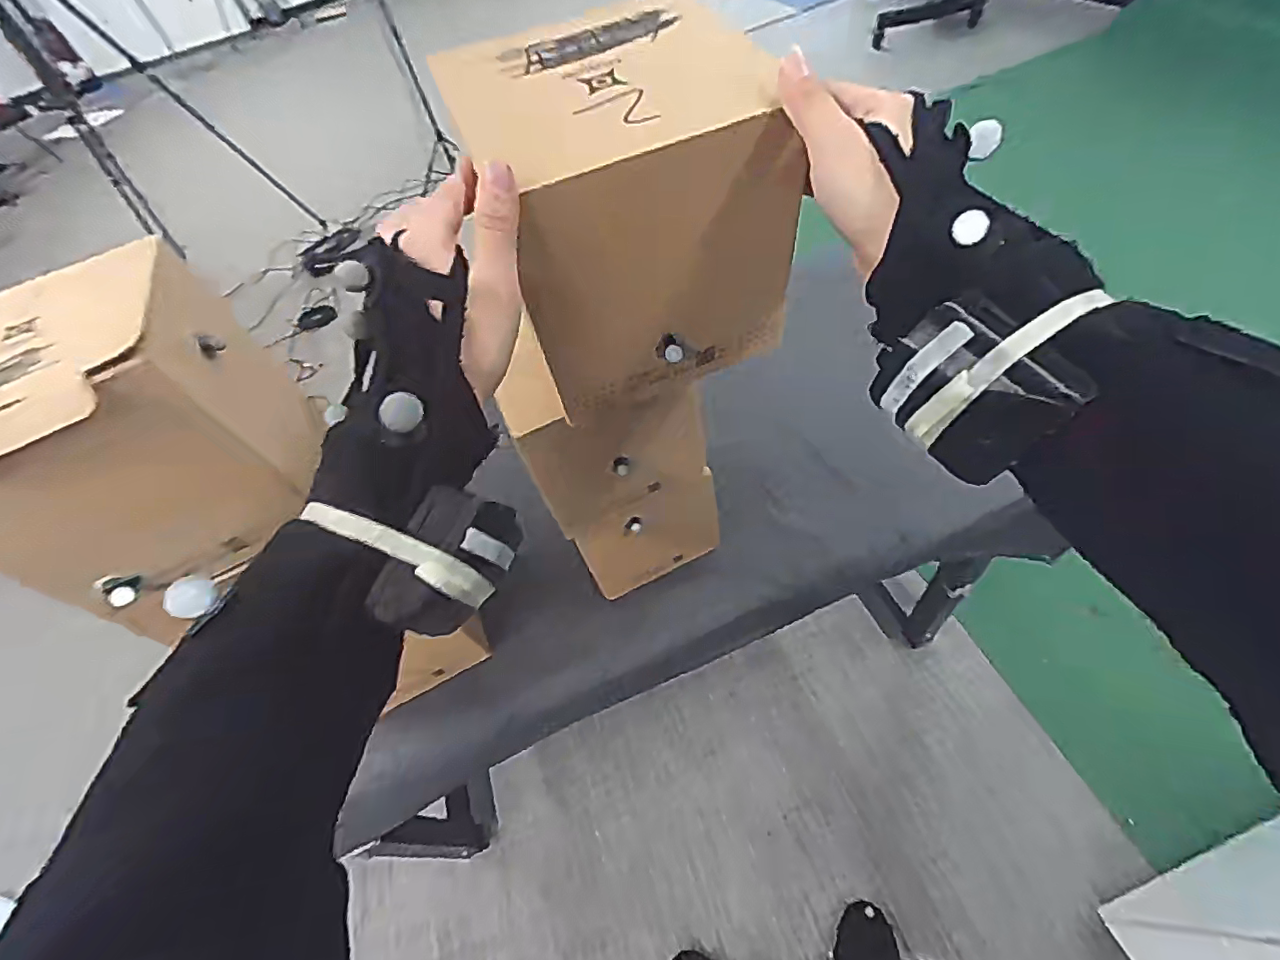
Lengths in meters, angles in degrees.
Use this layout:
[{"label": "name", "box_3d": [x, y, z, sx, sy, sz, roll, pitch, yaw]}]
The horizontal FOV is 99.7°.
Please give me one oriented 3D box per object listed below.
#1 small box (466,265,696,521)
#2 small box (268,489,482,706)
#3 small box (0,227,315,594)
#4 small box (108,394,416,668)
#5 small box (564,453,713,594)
[{"label": "small box", "box_3d": [-0.052, -0.080, 0.556, 0.168, 0.176, 0.179, -25, 53, -8]}, {"label": "small box", "box_3d": [-0.312, 0.149, 0.650, 0.168, 0.176, 0.179, -27, 53, -8]}, {"label": "small box", "box_3d": [-0.365, -0.041, 0.389, 0.168, 0.176, 0.179, -28, 53, -11]}, {"label": "small box", "box_3d": [-0.339, 0.057, 0.518, 0.168, 0.176, 0.179, -26, 52, -10]}, {"label": "small box", "box_3d": [-0.020, 0.013, 0.690, 0.168, 0.176, 0.179, -26, 53, -7]}]
